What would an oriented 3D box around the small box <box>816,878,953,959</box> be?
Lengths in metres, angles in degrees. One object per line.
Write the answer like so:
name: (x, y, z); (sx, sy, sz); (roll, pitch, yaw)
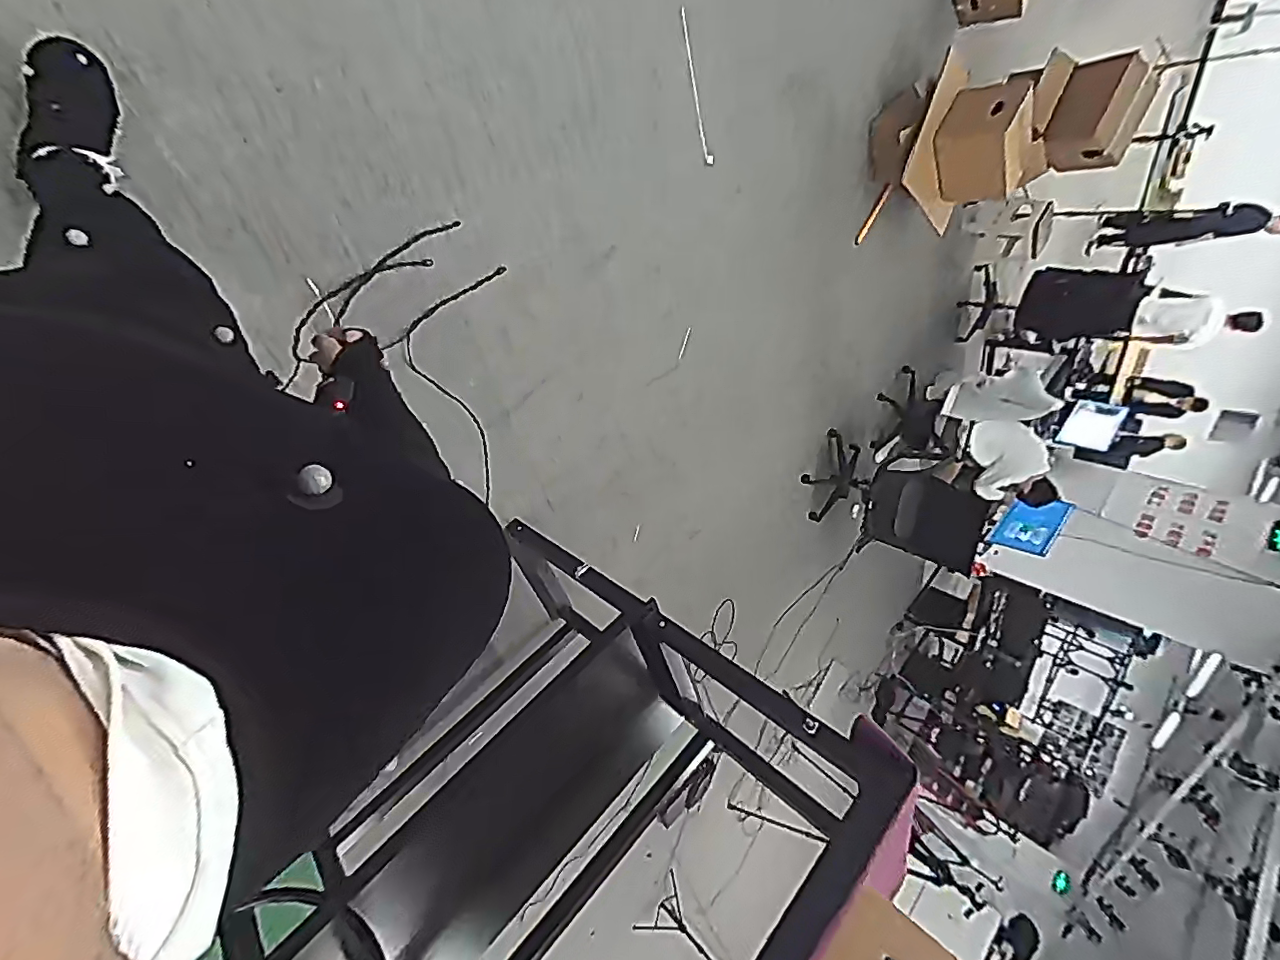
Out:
small box: (0.416, 0.860, 0.948); (0.179, 0.176, 0.168); (-40, 133, -27)
